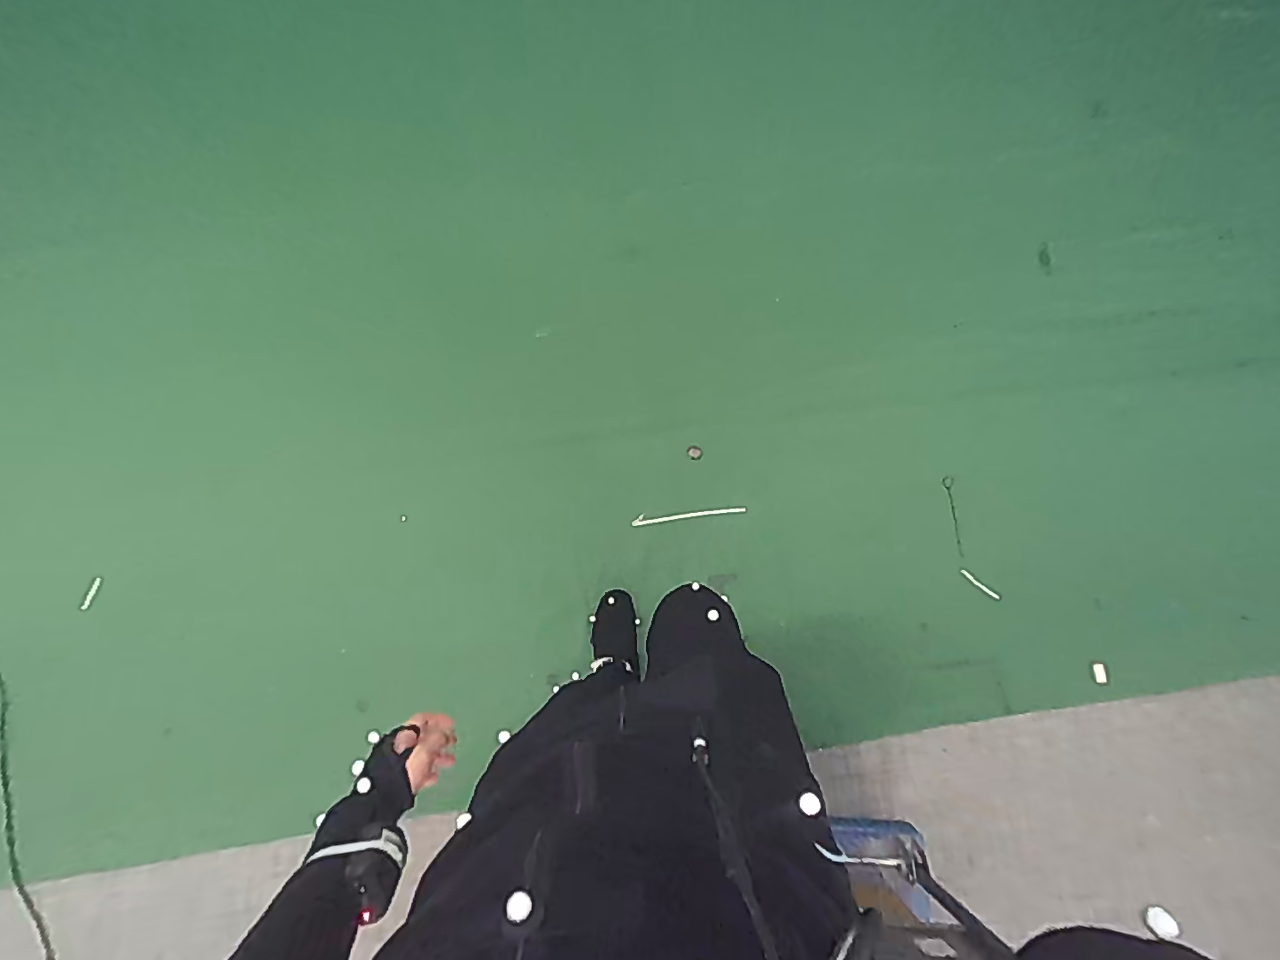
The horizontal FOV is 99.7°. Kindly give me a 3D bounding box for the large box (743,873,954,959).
[{"bbox_3d":[0.379,1.026,1.001,0.320,0.320,0.408,2,80,0],"label":"large box"}]
